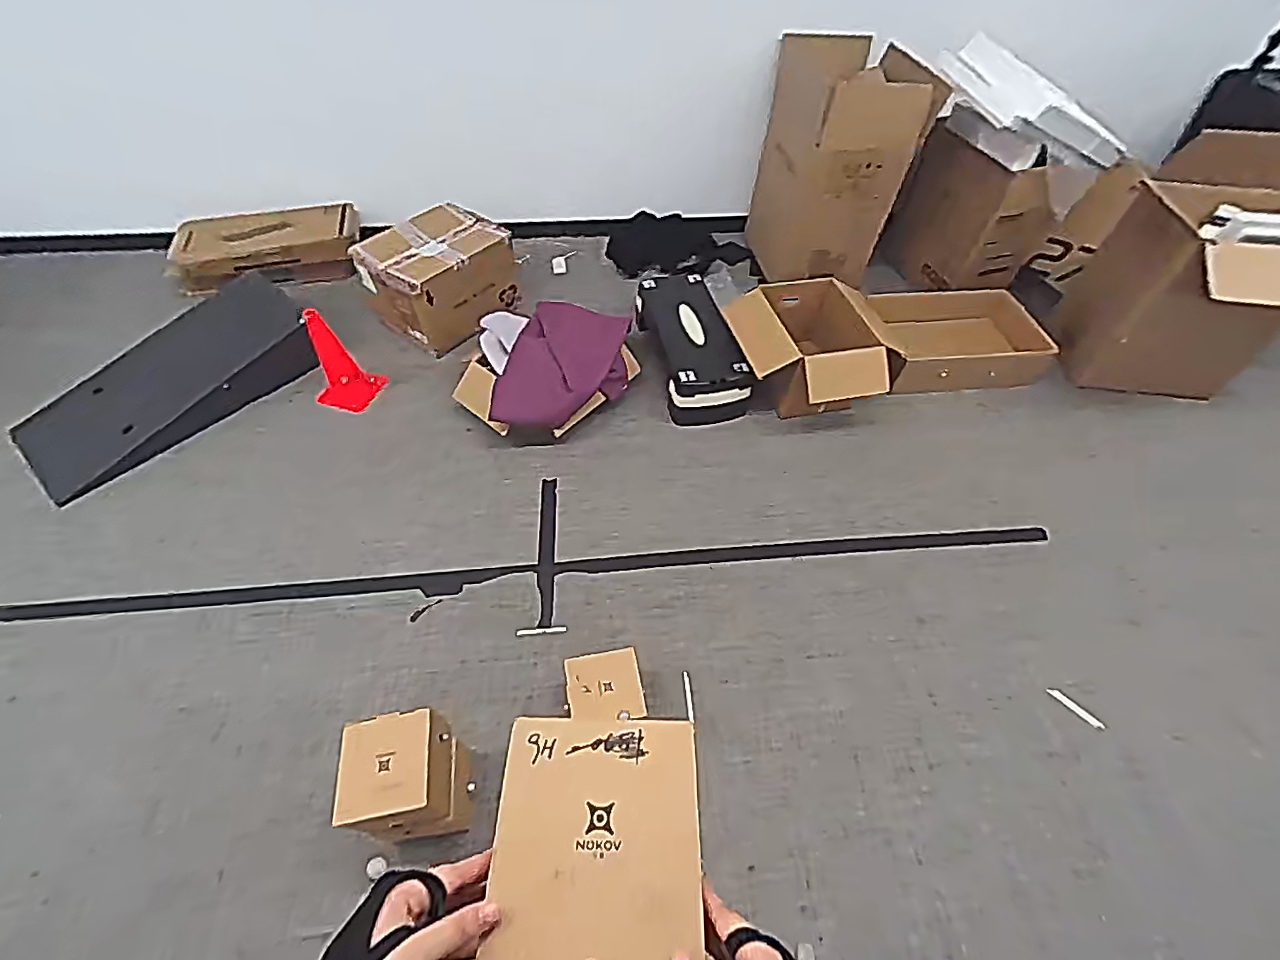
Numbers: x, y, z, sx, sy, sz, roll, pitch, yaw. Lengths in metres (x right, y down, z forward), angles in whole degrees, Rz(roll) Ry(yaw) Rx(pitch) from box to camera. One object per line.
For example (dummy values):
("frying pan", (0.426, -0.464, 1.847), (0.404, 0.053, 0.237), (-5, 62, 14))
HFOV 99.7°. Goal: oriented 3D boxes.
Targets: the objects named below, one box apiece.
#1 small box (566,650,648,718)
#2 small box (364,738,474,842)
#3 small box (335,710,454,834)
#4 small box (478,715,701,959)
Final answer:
("small box", (-0.084, 0.539, 1.329), (0.179, 0.176, 0.168), (-8, 53, -8))
("small box", (-0.479, 0.691, 1.200), (0.179, 0.176, 0.168), (-5, 53, -6))
("small box", (-0.477, 0.584, 1.077), (0.168, 0.176, 0.179), (-9, 55, -7))
("small box", (-0.036, 0.334, 0.500), (0.168, 0.176, 0.179), (1, 50, -1))
